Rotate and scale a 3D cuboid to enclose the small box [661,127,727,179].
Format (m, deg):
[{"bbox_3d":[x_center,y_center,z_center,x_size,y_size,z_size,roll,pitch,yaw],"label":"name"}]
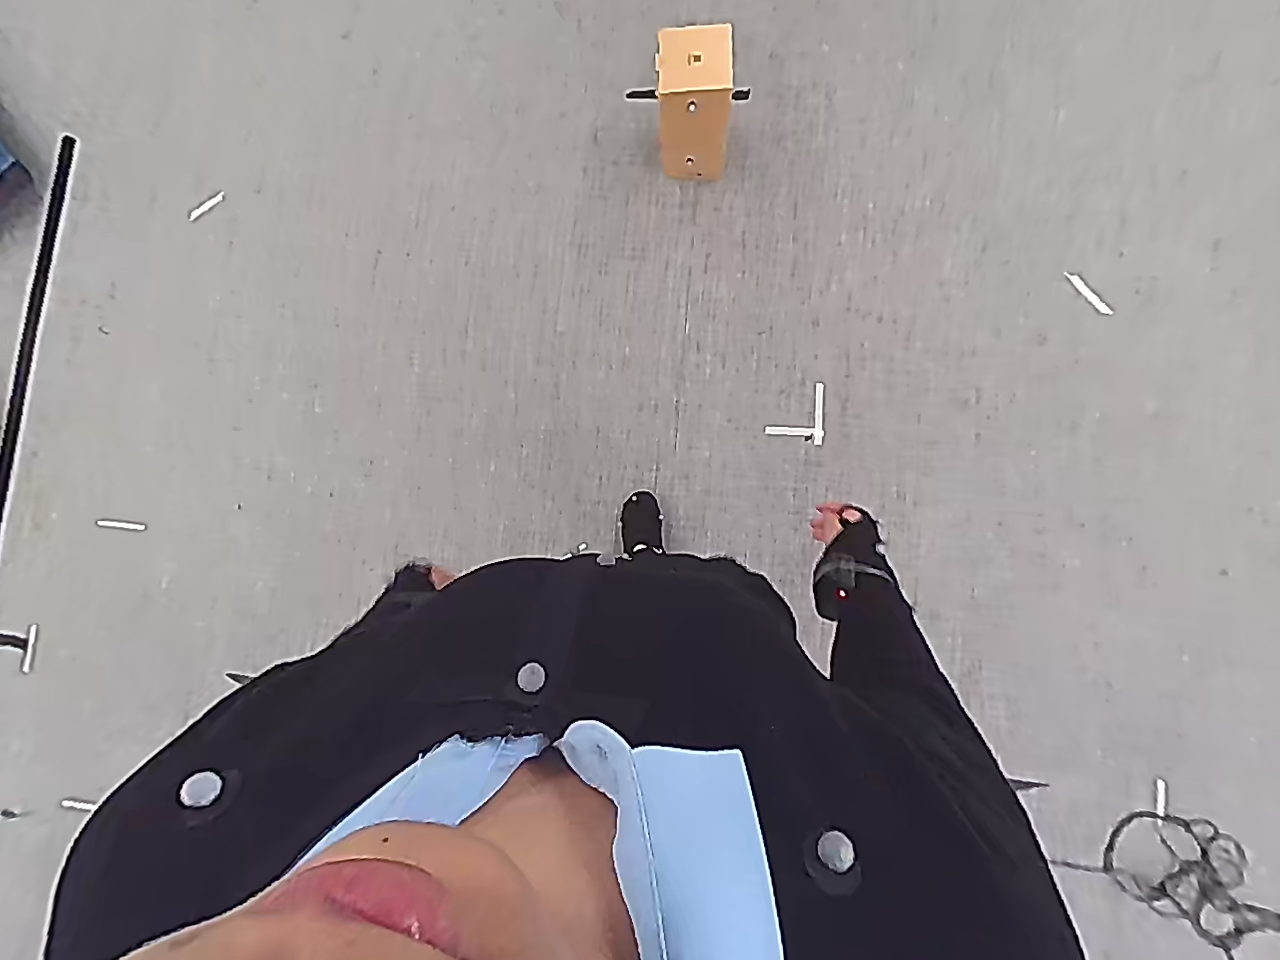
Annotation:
[{"bbox_3d":[0.154,-0.970,1.503,0.168,0.176,0.179,8,85,5],"label":"small box"}]

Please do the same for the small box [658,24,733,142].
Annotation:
[{"bbox_3d":[0.135,-0.975,1.341,0.179,0.176,0.168,-1,85,5],"label":"small box"}]
